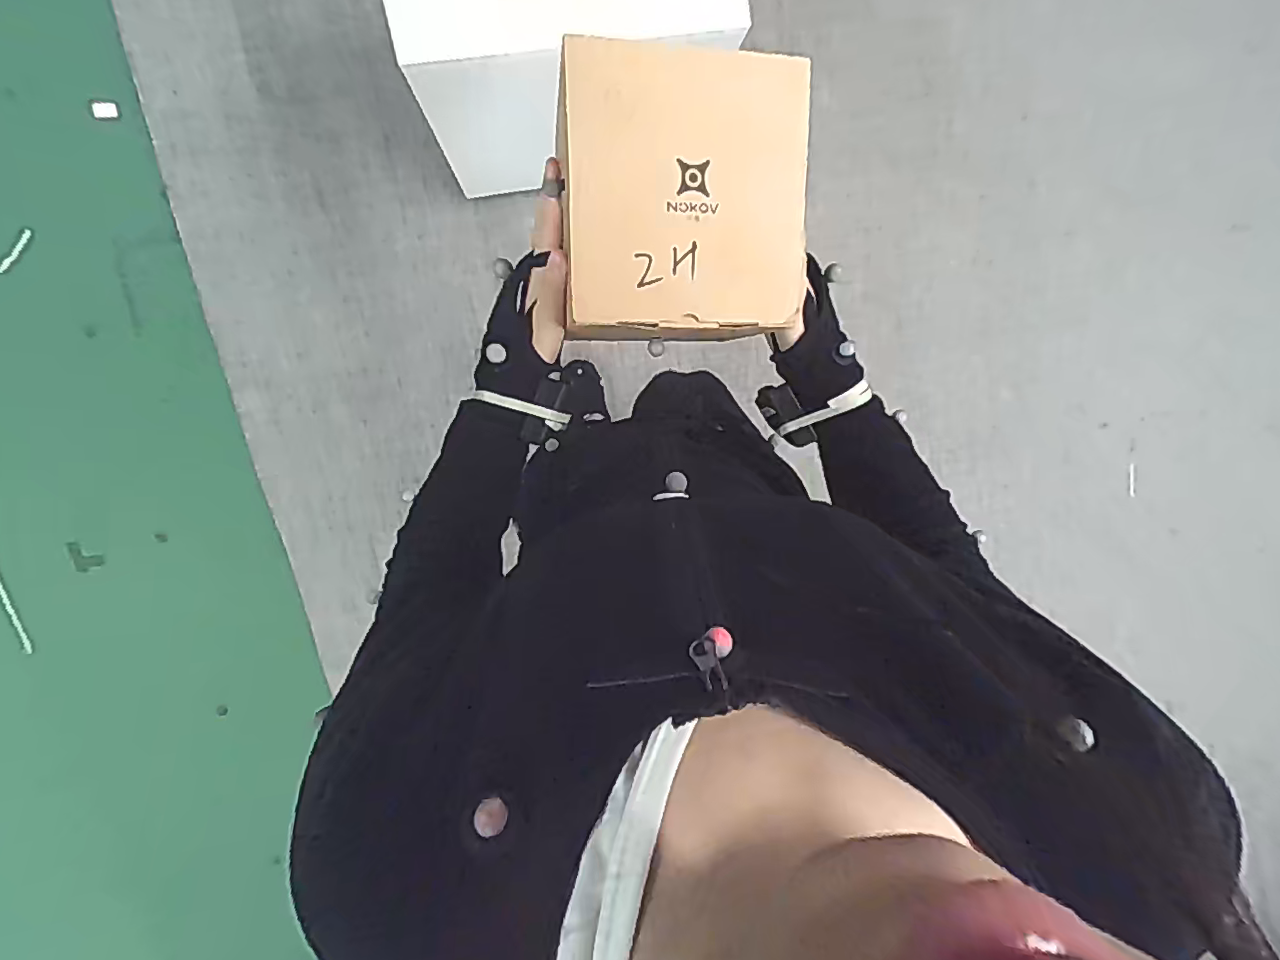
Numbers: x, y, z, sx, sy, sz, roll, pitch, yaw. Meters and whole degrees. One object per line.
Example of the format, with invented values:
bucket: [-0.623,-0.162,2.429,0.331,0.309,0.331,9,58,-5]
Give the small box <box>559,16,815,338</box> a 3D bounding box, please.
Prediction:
small box: [0.022,-0.213,0.434,0.168,0.176,0.179,-2,100,-10]
